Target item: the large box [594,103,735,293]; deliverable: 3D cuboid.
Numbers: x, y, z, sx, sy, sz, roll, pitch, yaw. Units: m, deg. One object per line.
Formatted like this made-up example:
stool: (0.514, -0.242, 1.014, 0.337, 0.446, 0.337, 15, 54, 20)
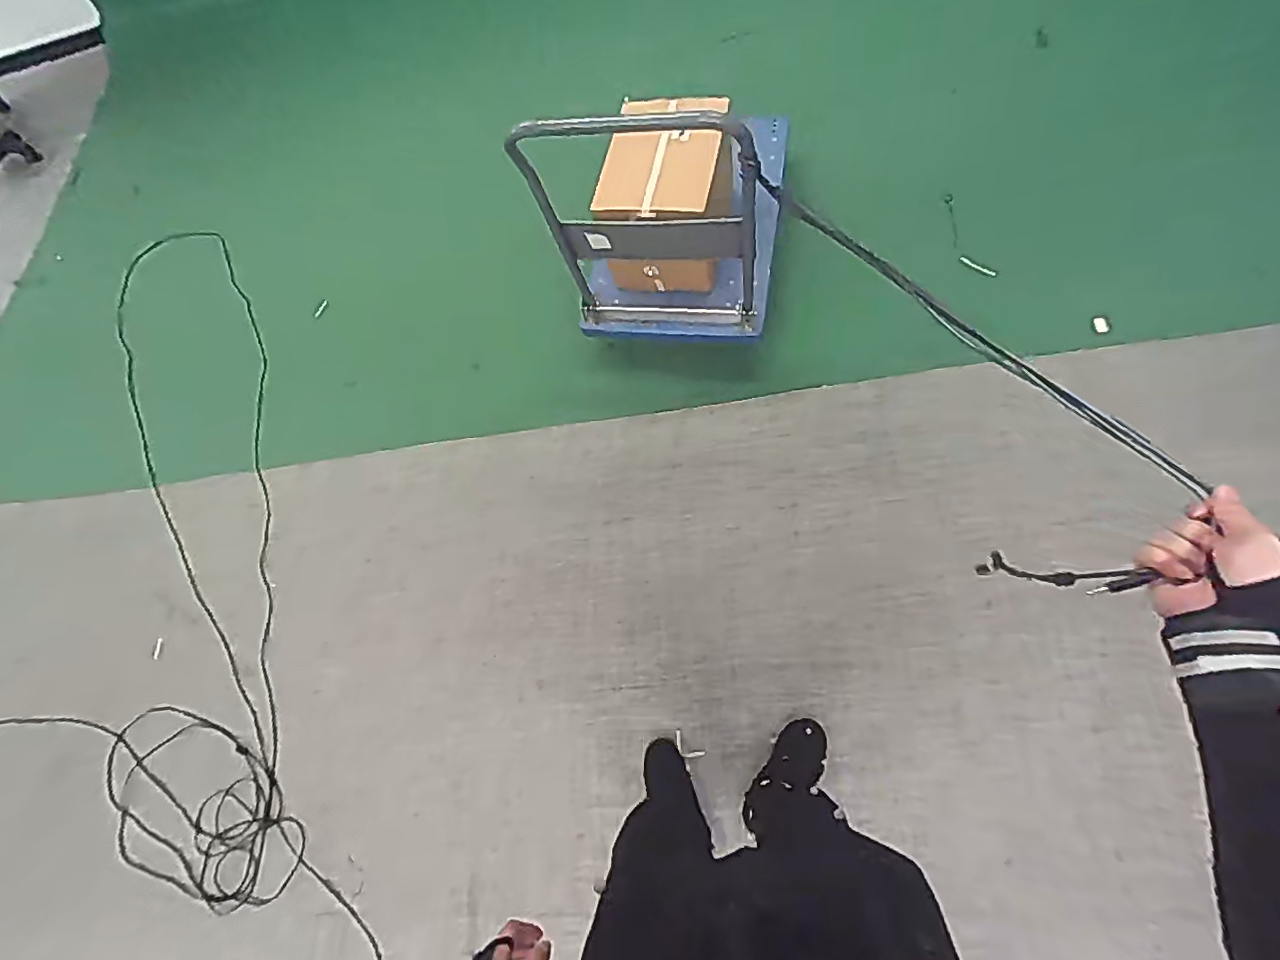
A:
large box: (0.092, -0.812, 1.587, 0.320, 0.320, 0.408, 9, 71, 14)
